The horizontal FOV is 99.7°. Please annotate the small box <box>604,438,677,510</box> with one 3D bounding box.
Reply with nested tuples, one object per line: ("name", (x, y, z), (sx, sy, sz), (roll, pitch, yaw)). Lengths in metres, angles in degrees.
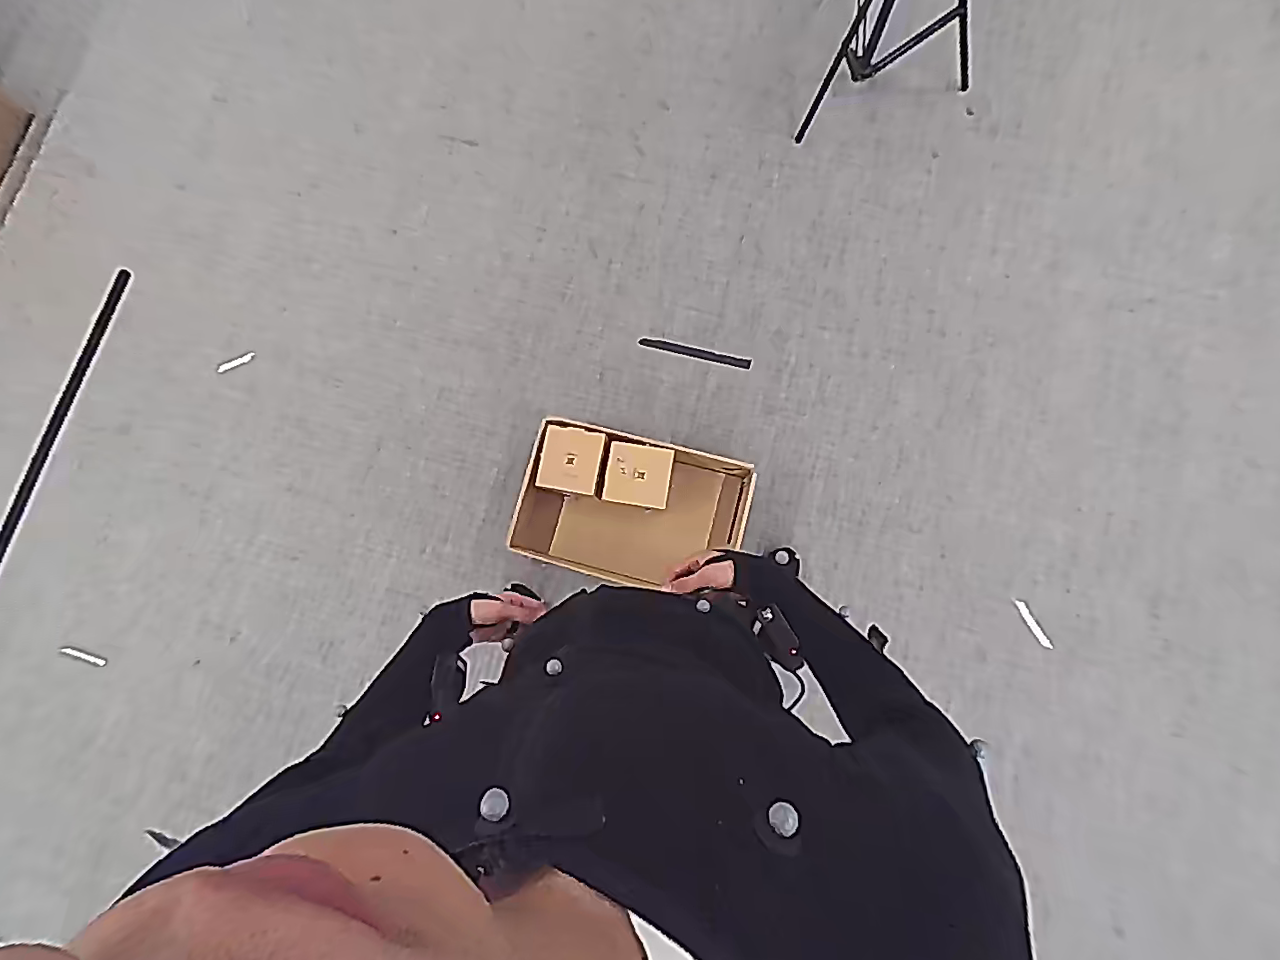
("small box", (0.004, -0.010, 1.525), (0.179, 0.176, 0.168), (9, 83, 4))
